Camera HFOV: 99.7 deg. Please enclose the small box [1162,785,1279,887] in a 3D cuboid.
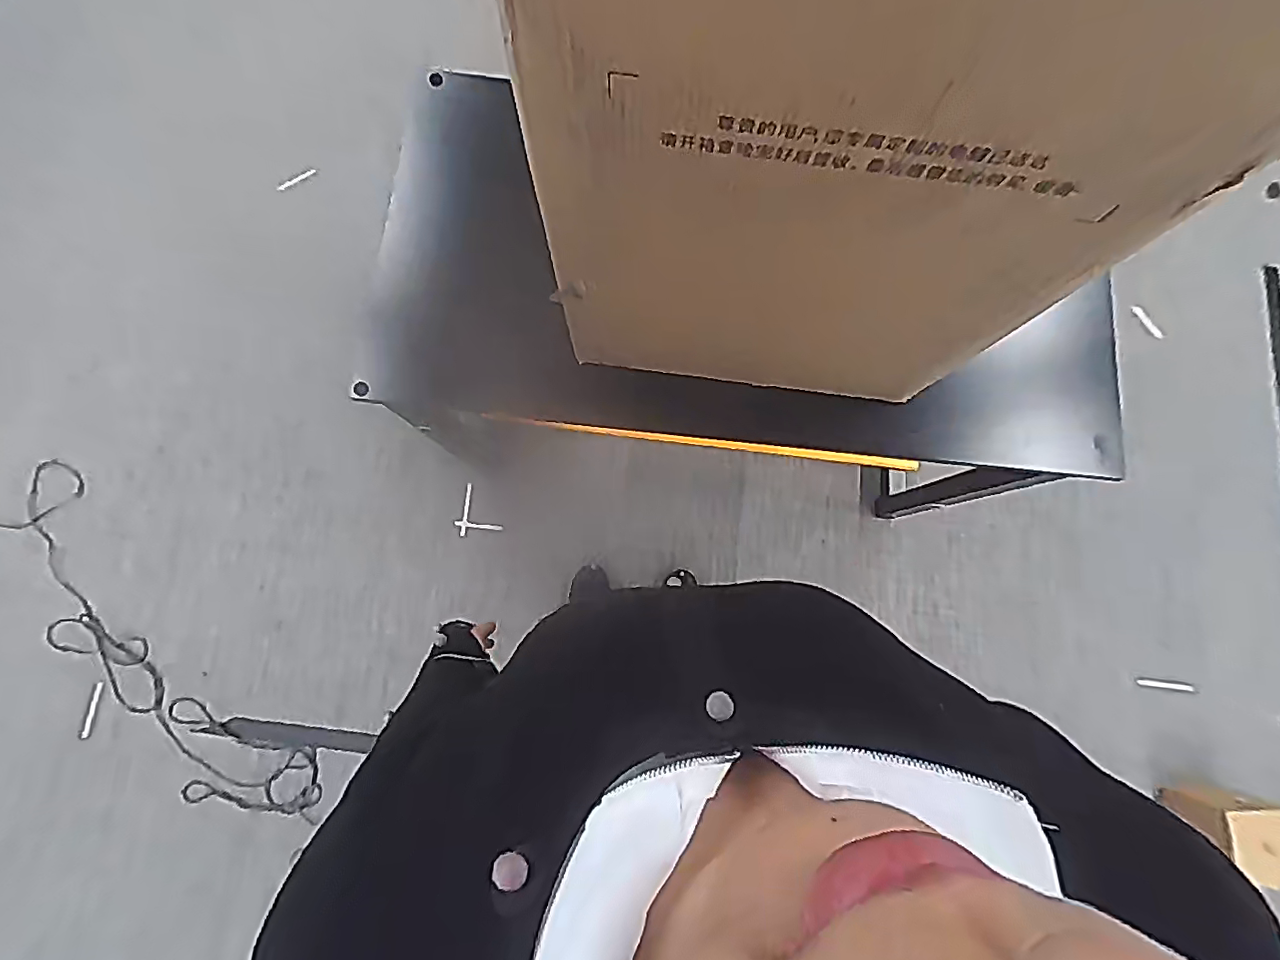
[{"bbox_3d":[1.478,0.879,1.350,0.179,0.176,0.168,-1,79,0],"label":"small box"}]
